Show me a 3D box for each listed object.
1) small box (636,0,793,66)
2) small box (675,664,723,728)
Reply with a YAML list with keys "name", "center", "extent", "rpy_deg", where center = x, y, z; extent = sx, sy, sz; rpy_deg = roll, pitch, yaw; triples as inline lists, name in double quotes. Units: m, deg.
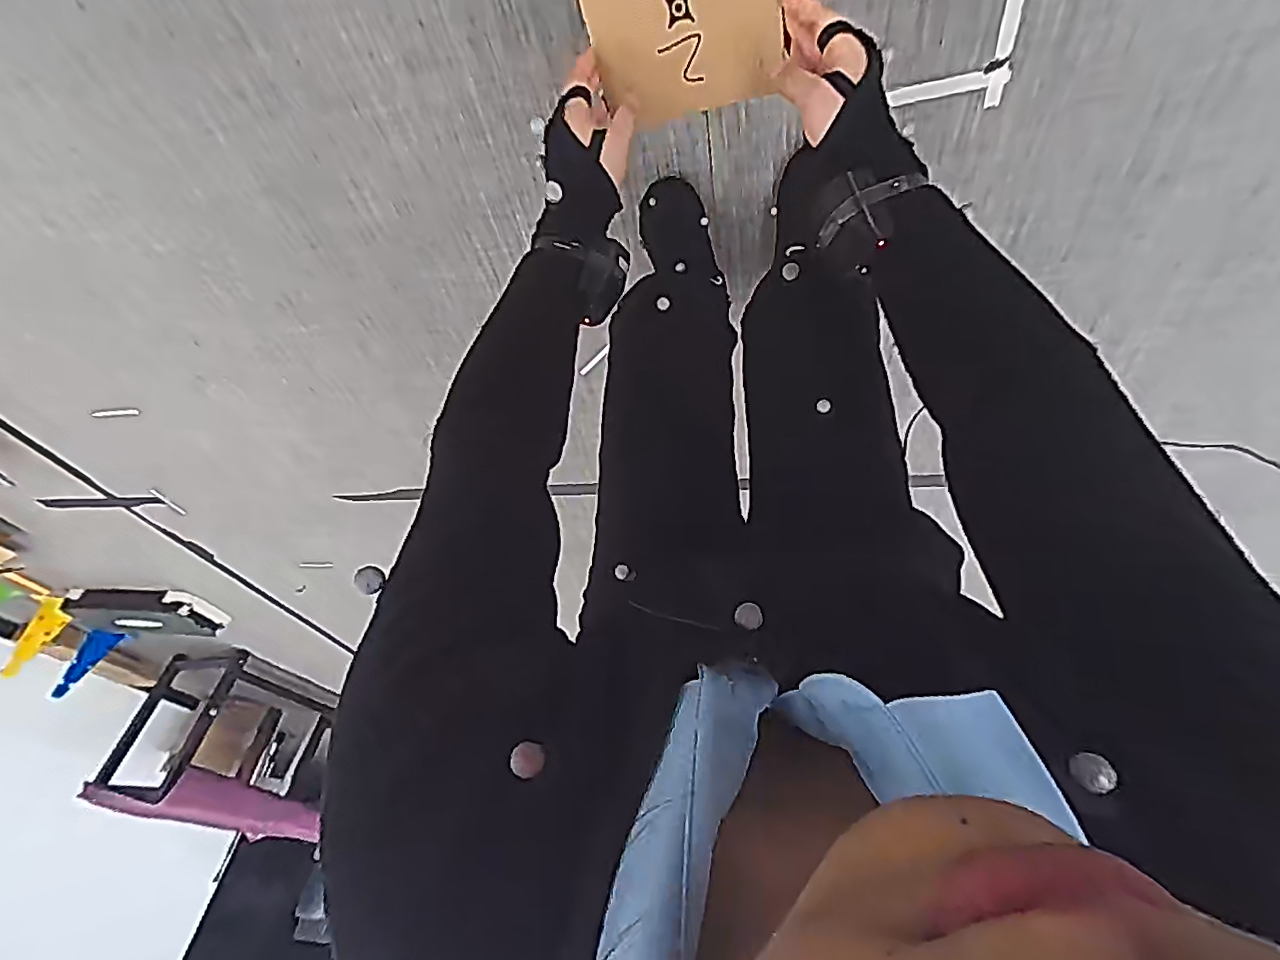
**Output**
- name: "small box"
  center: [0.076, -0.597, 0.592]
  extent: [0.168, 0.176, 0.179]
  rpy_deg: [-4, 140, 13]
- name: "small box"
  center: [0.217, 0.781, 1.954]
  extent: [0.168, 0.176, 0.179]
  rpy_deg: [-2, 140, 9]
